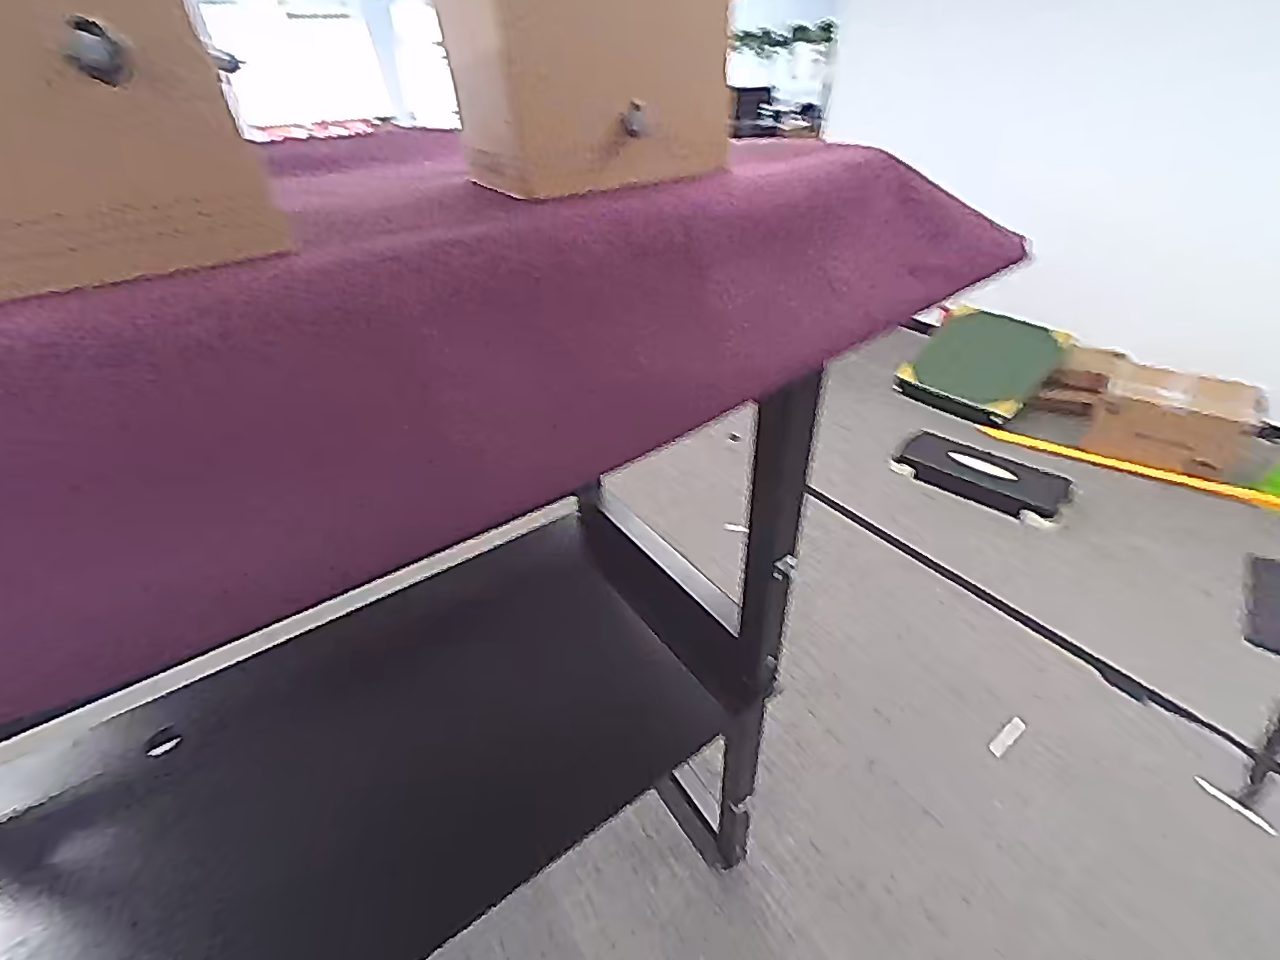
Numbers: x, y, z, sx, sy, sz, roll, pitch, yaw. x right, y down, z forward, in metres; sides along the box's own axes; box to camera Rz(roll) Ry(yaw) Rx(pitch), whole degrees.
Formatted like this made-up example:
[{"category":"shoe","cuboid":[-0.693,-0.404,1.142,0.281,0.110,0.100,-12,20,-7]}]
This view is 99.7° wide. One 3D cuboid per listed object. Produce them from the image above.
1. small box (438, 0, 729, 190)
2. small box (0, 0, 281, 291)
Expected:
[{"category":"small box","cuboid":[-0.046,-0.333,0.413,0.179,0.176,0.168,-21,39,-21]},{"category":"small box","cuboid":[-0.307,-0.206,0.271,0.179,0.176,0.168,-23,40,-23]}]
